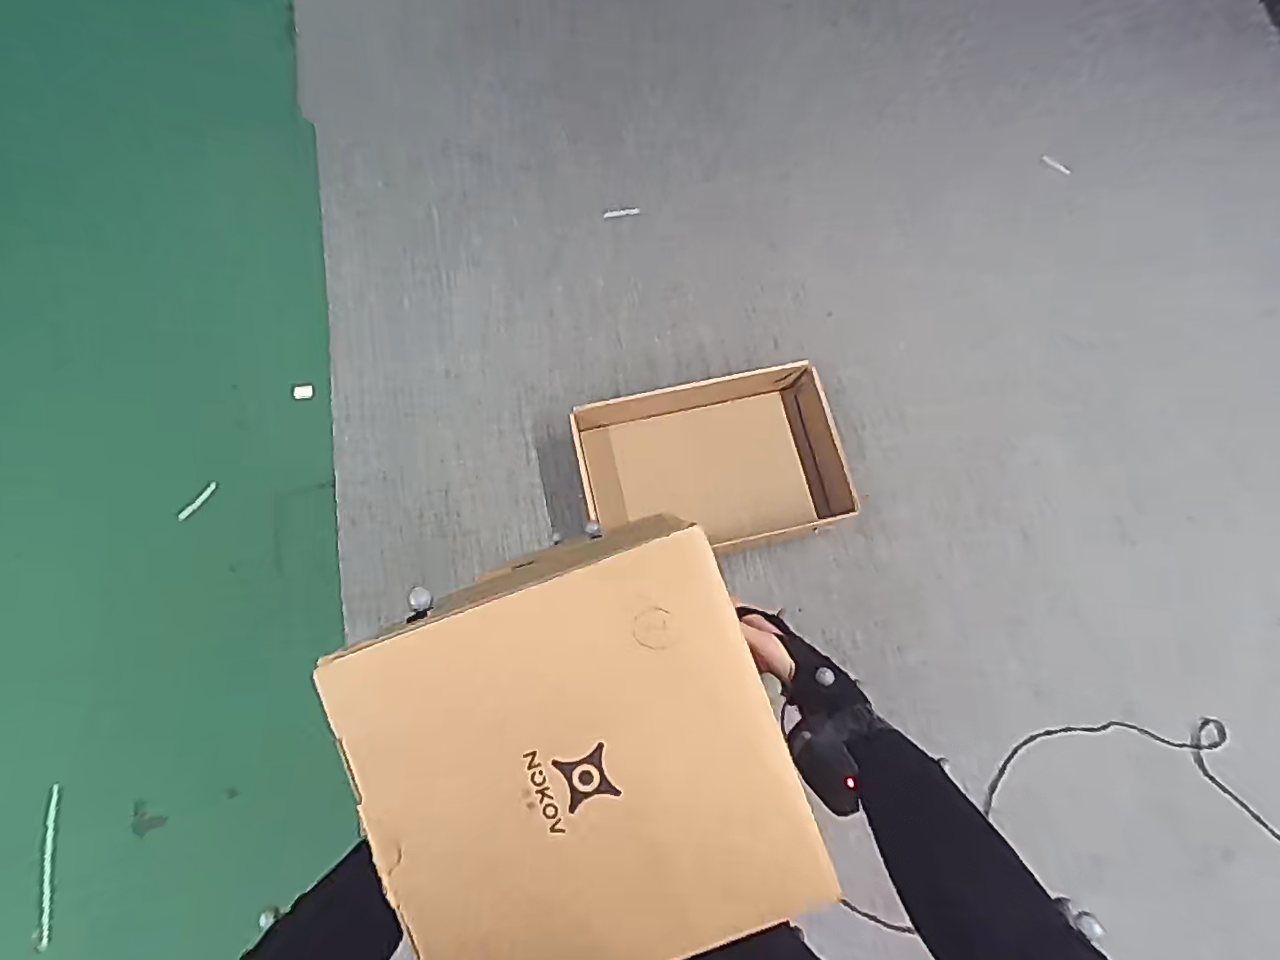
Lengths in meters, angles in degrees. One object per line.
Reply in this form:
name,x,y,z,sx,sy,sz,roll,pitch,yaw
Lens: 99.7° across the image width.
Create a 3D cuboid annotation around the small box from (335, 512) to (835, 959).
small box,-0.024,0.122,0.310,0.179,0.176,0.168,-21,88,0
